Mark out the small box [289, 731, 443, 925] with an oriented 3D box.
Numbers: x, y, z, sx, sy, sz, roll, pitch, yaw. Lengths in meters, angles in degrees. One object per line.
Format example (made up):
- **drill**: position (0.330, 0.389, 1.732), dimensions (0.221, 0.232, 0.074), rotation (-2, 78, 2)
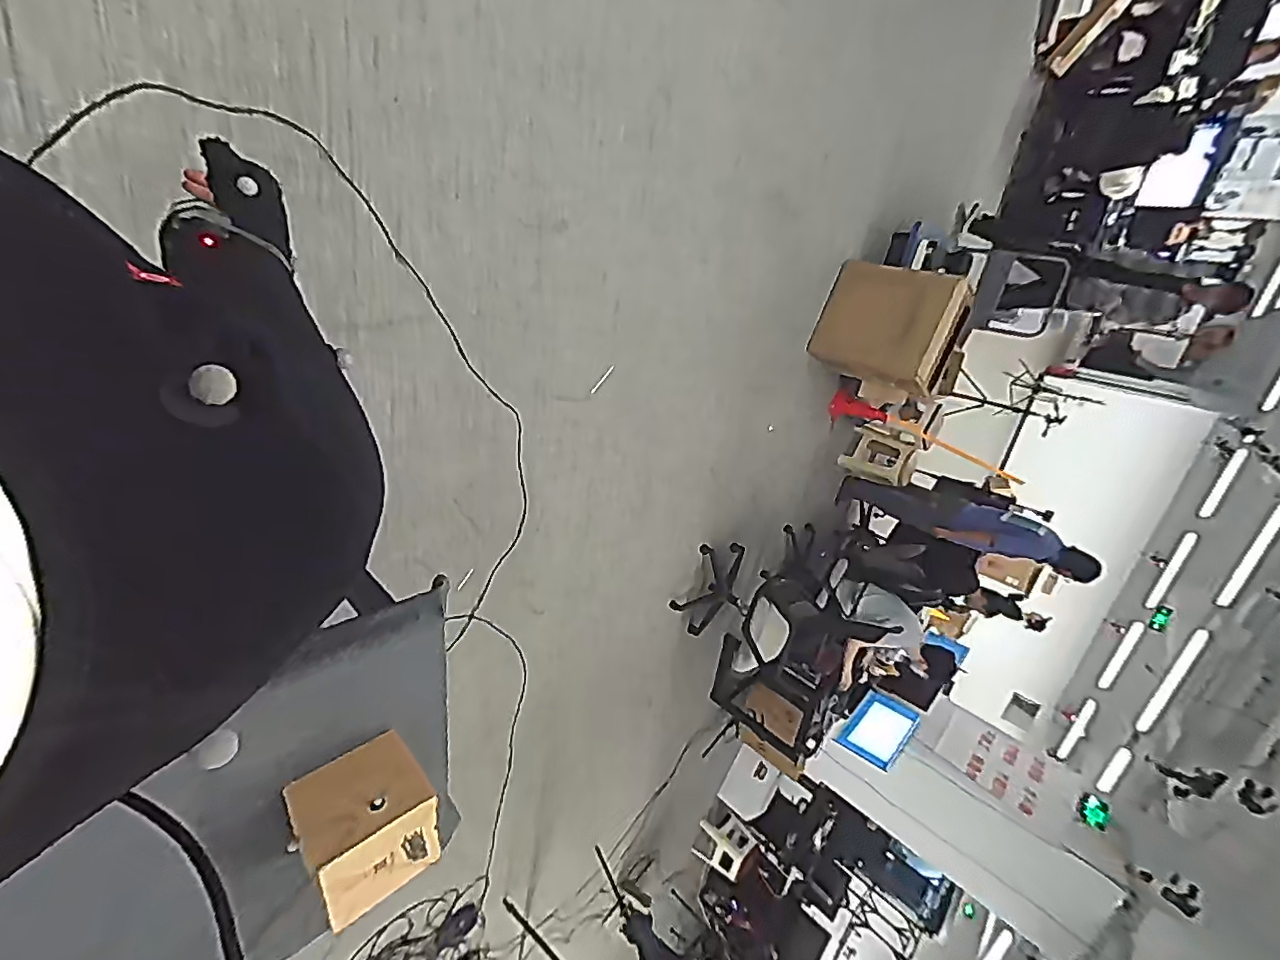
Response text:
- **small box**: position (-0.452, 0.564, 0.903), dimensions (0.179, 0.176, 0.168), rotation (-18, 124, -42)
